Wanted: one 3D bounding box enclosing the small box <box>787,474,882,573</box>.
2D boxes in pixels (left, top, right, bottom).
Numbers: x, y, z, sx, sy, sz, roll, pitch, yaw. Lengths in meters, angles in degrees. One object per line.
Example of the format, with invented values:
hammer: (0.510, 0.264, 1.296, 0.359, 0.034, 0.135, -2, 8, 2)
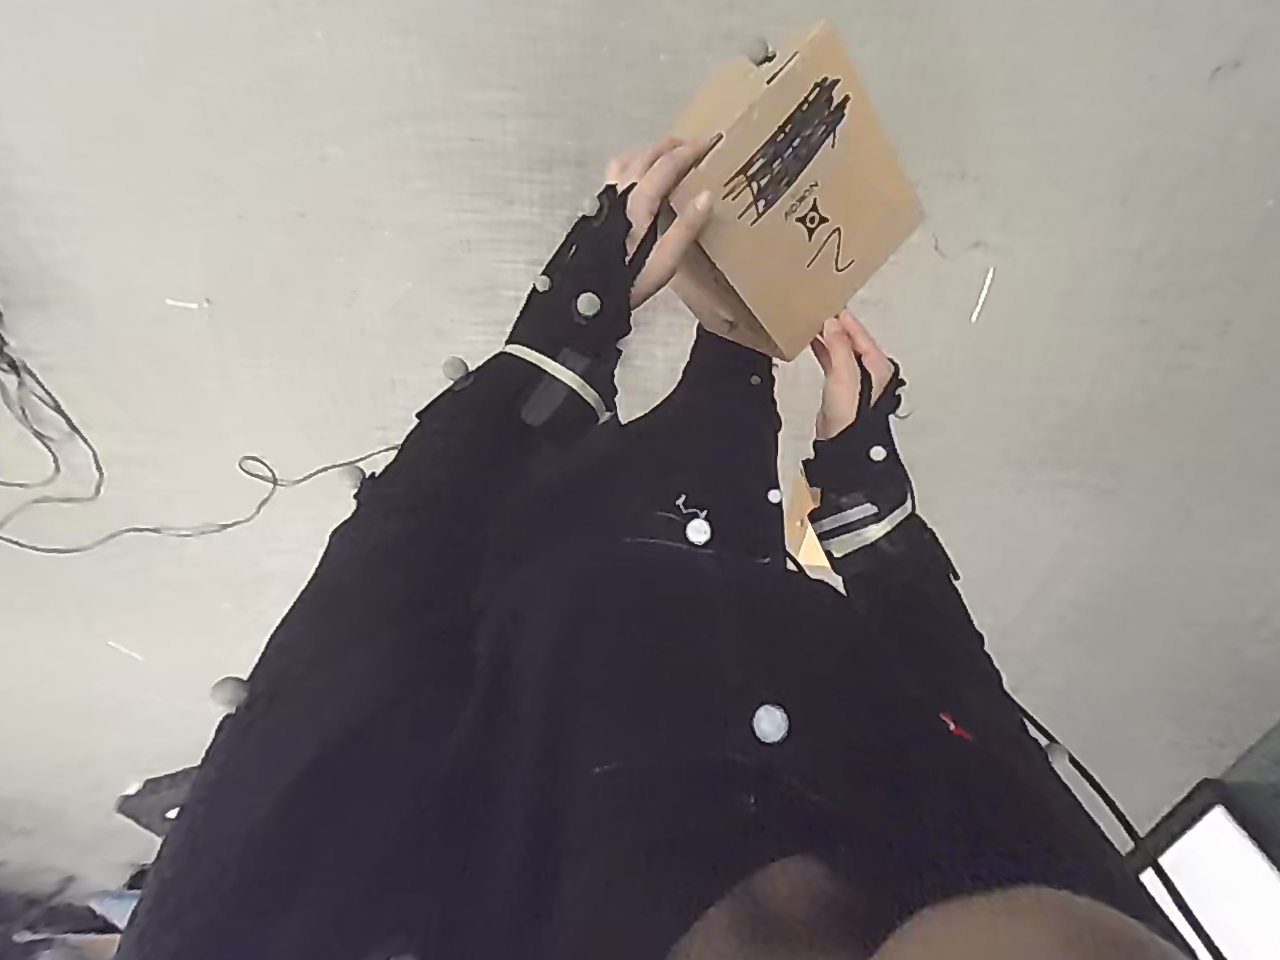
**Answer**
small box: (0.478, 0.107, 1.363, 0.168, 0.176, 0.179, 6, 121, 0)
